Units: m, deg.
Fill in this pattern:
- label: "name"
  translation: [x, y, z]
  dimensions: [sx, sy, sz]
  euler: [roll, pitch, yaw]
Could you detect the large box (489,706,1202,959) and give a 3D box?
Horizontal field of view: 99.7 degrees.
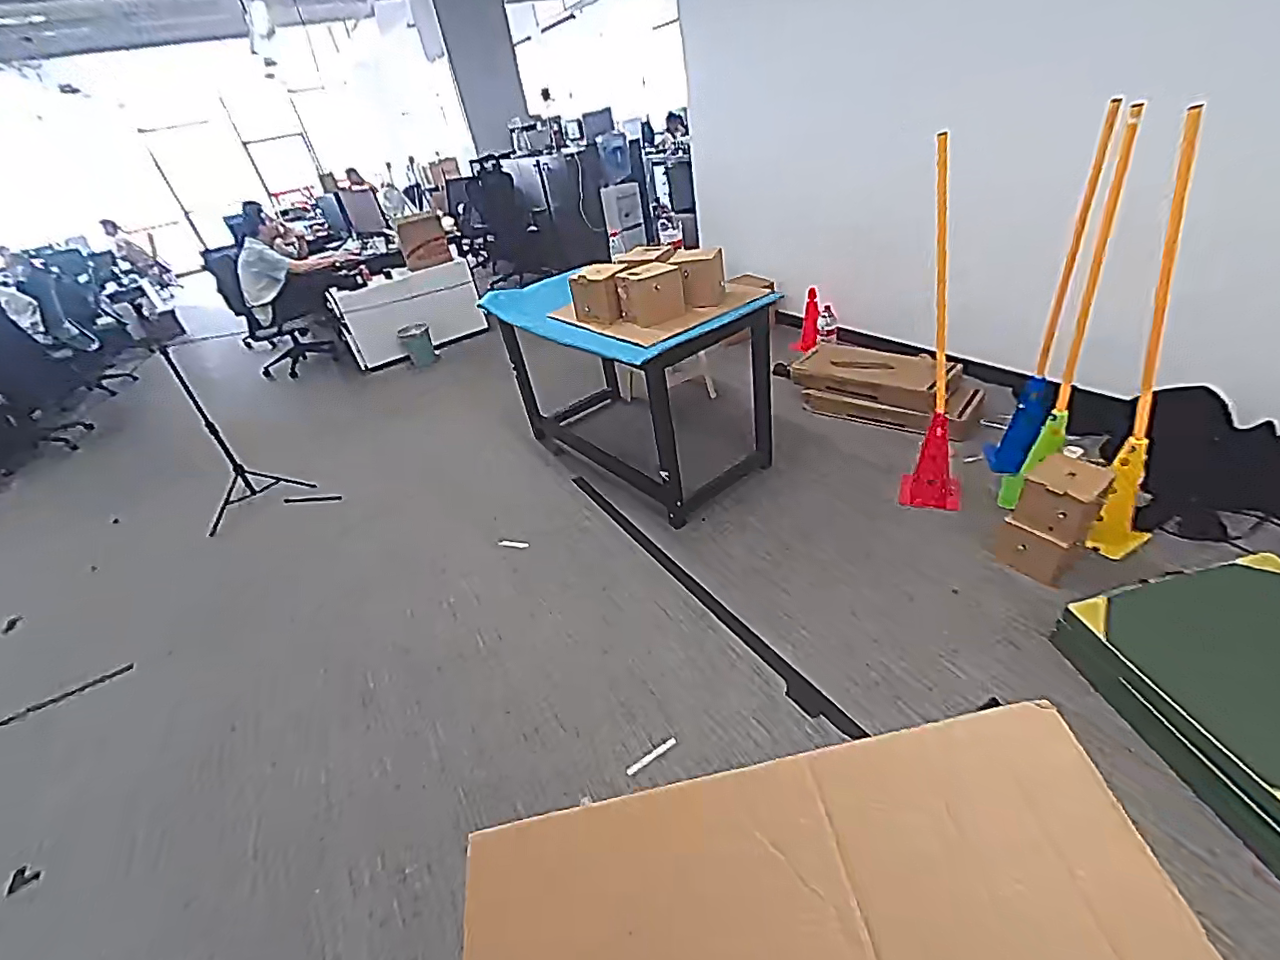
- label: "large box"
  translation: [0.137, 0.412, 0.395]
  dimensions: [0.408, 0.320, 0.320]
  euler: [-14, 50, 2]
